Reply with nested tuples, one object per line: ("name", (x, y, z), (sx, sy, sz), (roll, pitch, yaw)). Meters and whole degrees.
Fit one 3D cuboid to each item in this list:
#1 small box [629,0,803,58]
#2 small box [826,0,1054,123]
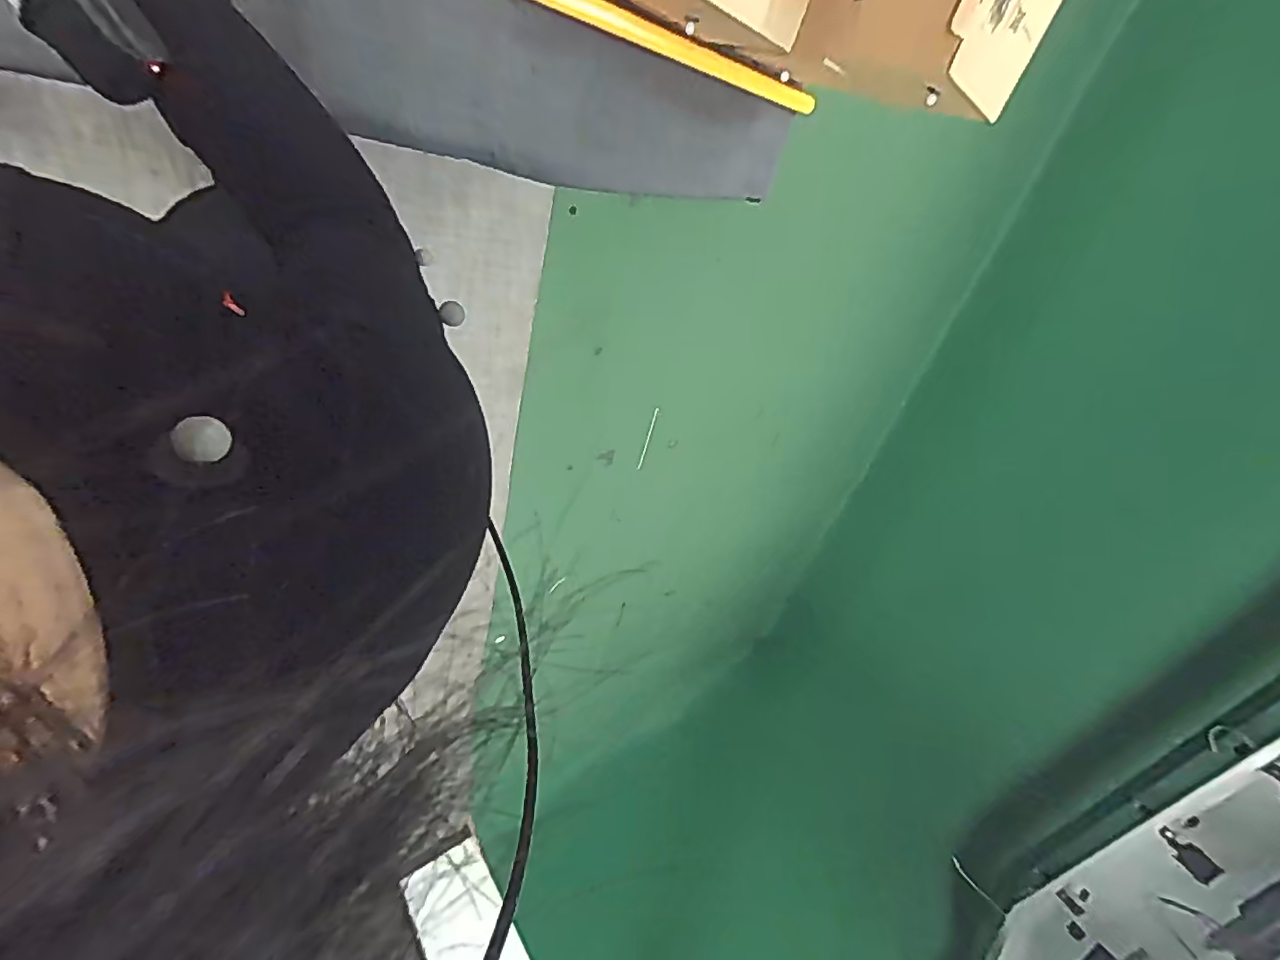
("small box", (0.085, -0.607, 0.594), (0.168, 0.176, 0.179), (-10, 131, -41))
("small box", (0.357, -0.559, 0.644), (0.179, 0.176, 0.168), (-9, 131, -42))
